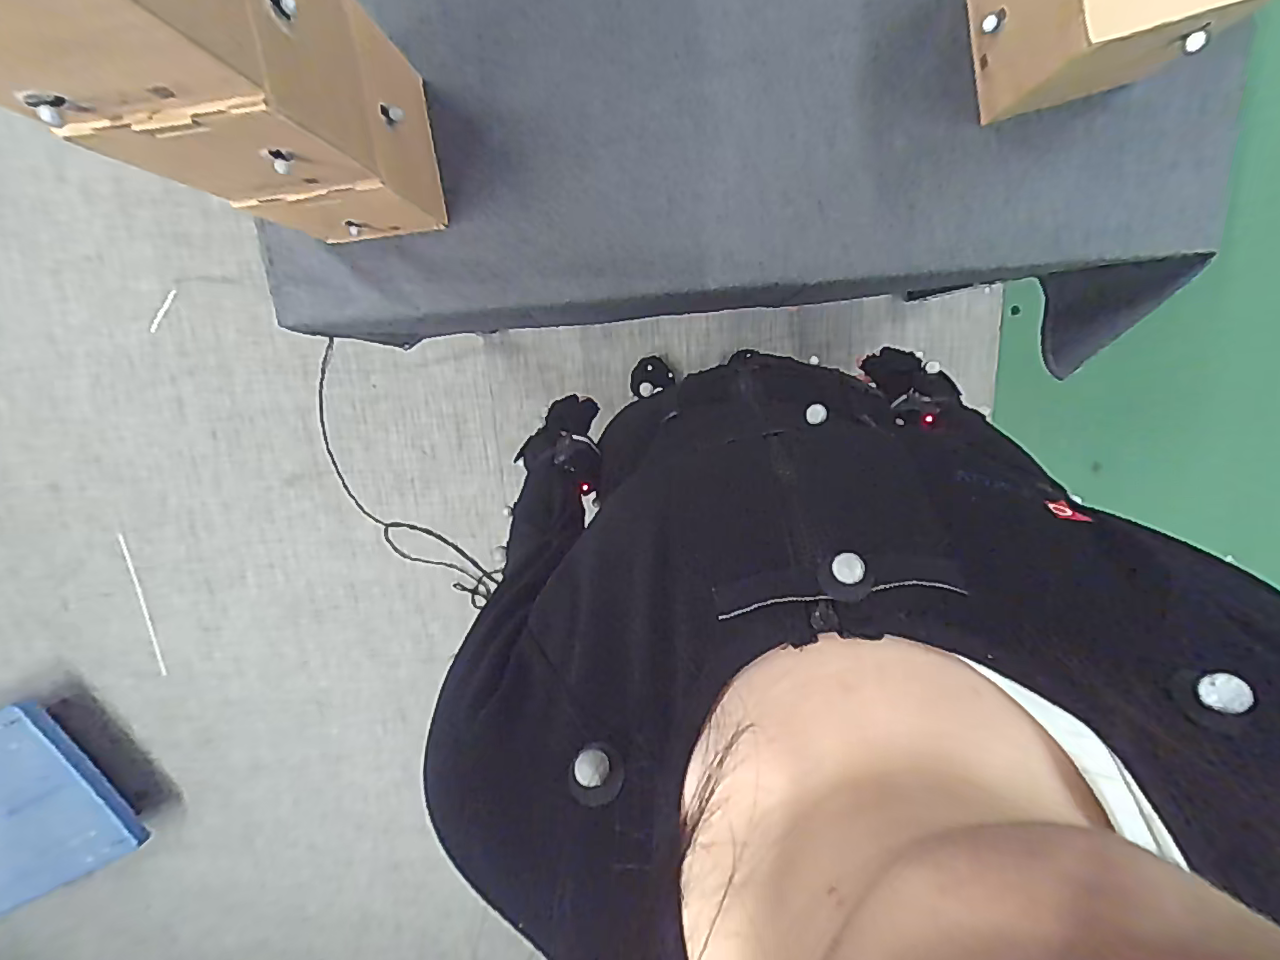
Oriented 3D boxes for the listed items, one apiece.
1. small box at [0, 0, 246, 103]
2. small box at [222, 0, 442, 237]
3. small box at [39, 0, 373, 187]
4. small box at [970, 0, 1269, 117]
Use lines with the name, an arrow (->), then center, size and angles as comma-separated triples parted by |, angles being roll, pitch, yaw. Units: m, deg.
small box -> -0.355, -0.329, 0.281 | 0.168, 0.176, 0.179 | -7, 102, 3
small box -> -0.343, -0.390, 0.602 | 0.168, 0.176, 0.179 | -6, 103, 4
small box -> -0.348, -0.358, 0.442 | 0.168, 0.176, 0.179 | -5, 102, 3
small box -> 0.463, -0.500, 0.533 | 0.179, 0.176, 0.168 | -13, 101, 6
